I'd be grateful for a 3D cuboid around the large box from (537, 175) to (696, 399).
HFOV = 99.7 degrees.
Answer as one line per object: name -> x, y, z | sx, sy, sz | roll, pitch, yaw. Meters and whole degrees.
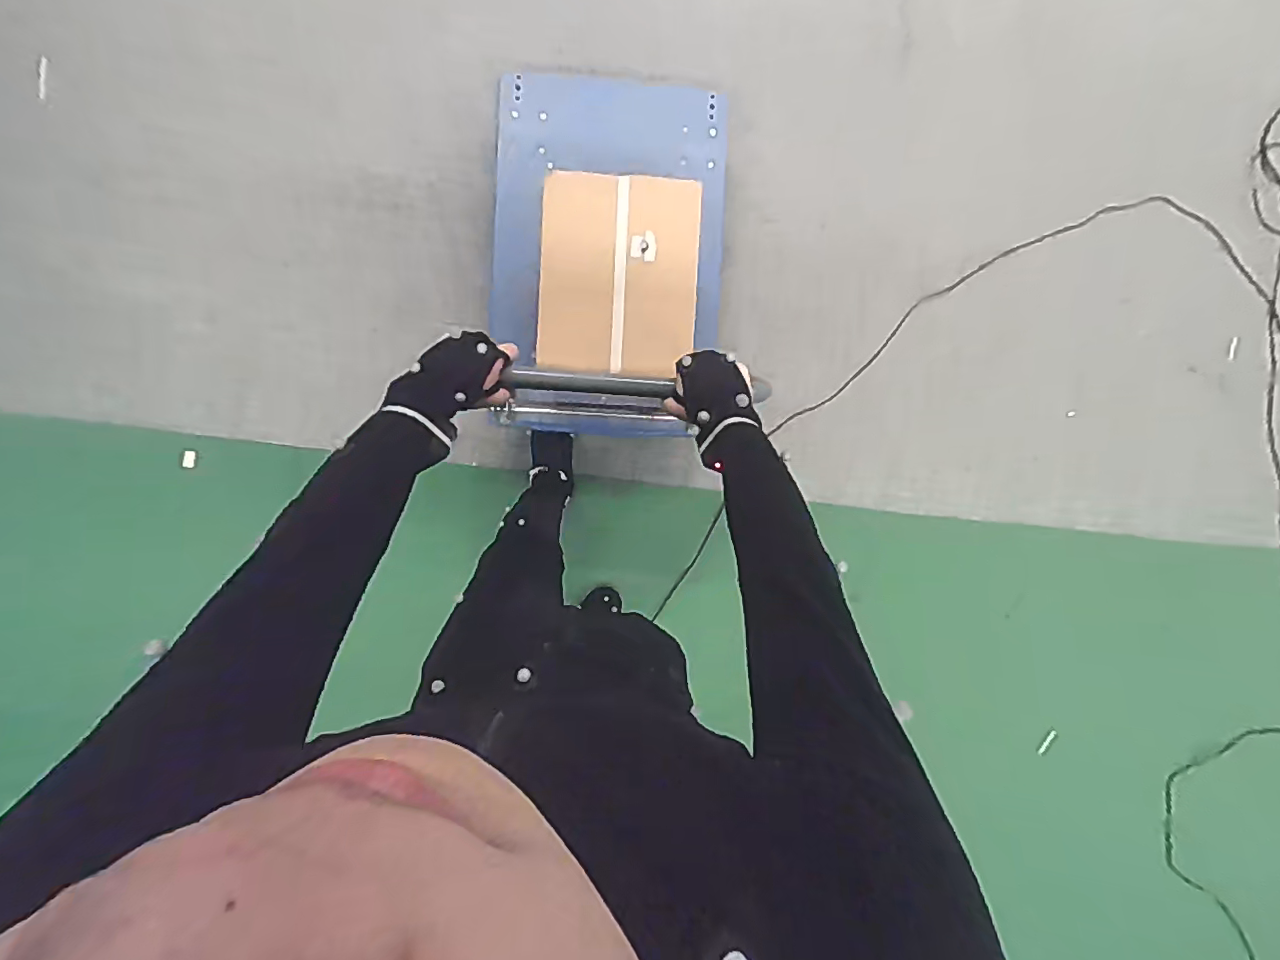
large box -> -0.054, -0.403, 1.225 | 0.320, 0.320, 0.408 | 2, 92, -4
